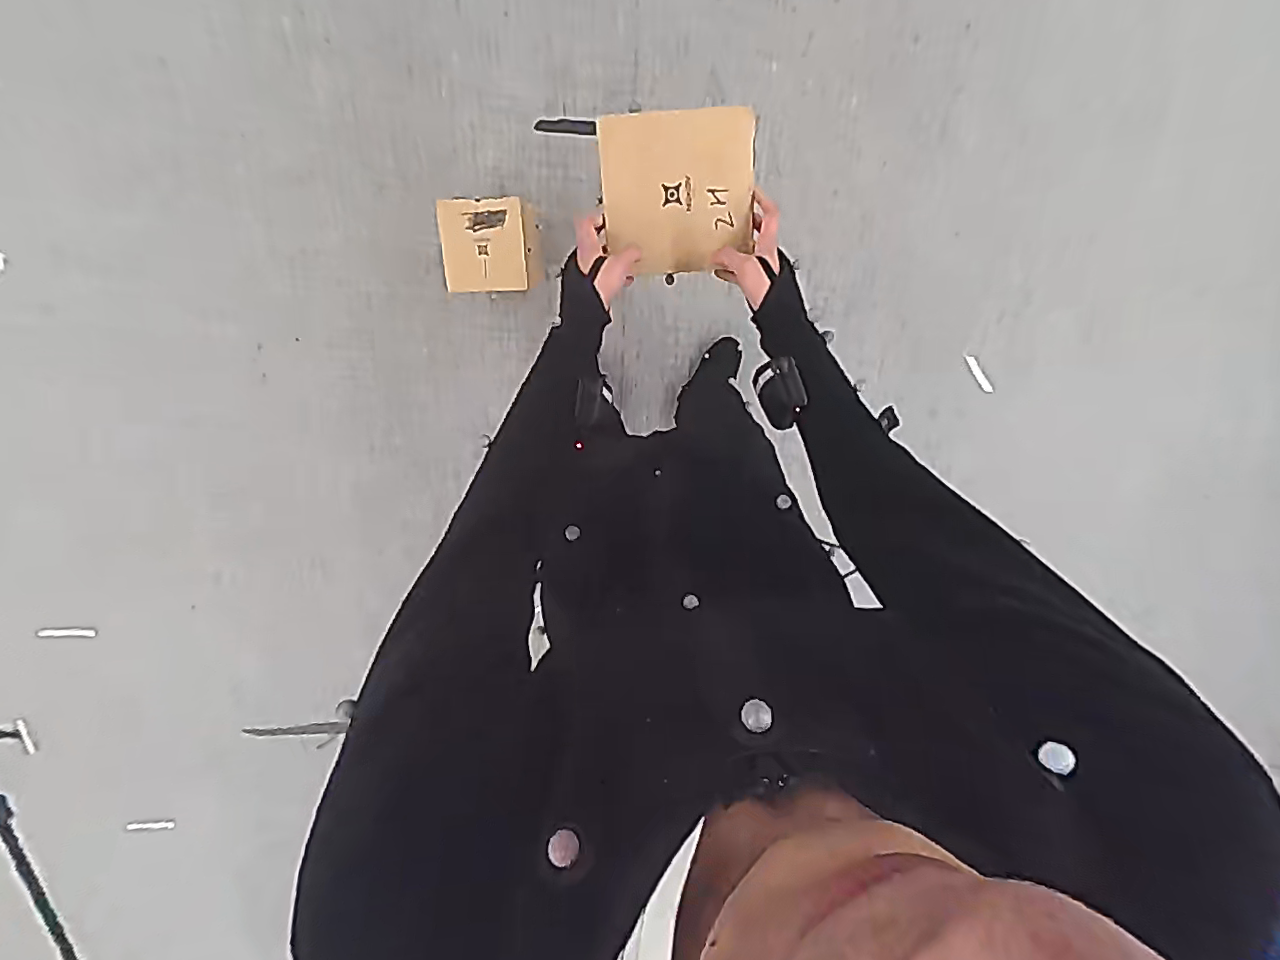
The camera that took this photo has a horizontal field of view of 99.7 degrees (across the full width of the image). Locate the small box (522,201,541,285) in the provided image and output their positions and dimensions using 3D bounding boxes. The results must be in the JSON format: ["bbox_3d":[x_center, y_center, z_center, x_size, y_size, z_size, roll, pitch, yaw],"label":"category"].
[{"bbox_3d":[-0.333,-0.565,1.308,0.168,0.176,0.179,-4,111,-4],"label":"small box"}]

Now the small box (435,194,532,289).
[{"bbox_3d":[-0.325,-0.503,1.157,0.168,0.176,0.179,-2,111,-5],"label":"small box"}]

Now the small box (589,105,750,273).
[{"bbox_3d":[0.032,-0.355,0.684,0.179,0.176,0.168,-5,114,-2],"label":"small box"}]
